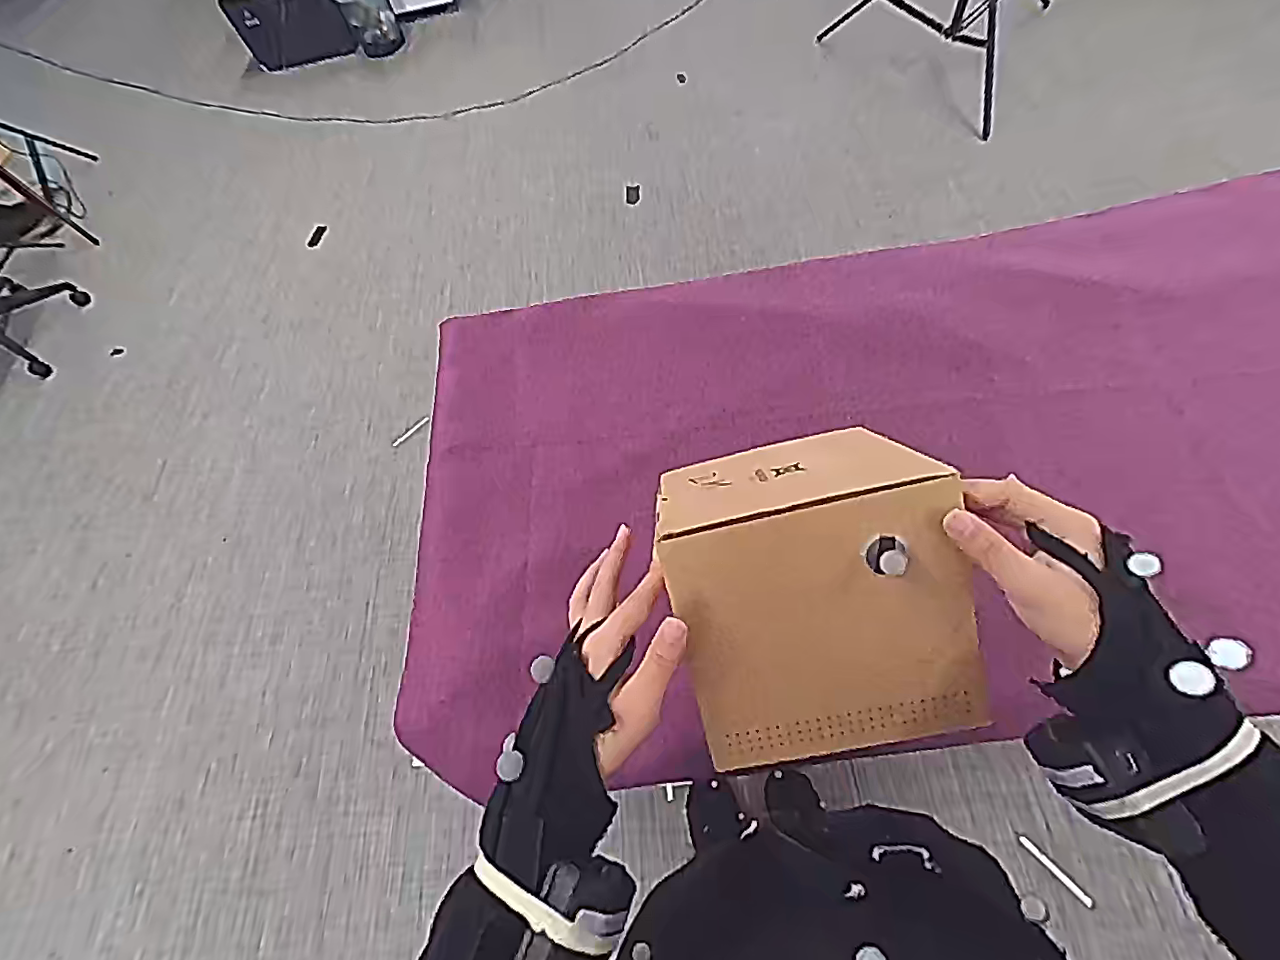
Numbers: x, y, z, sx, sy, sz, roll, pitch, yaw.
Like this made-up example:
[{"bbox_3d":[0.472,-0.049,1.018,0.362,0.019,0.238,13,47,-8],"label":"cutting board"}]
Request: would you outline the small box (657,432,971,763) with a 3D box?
[{"bbox_3d":[0.119,0.075,0.404,0.179,0.168,0.176,-14,101,7],"label":"small box"}]
